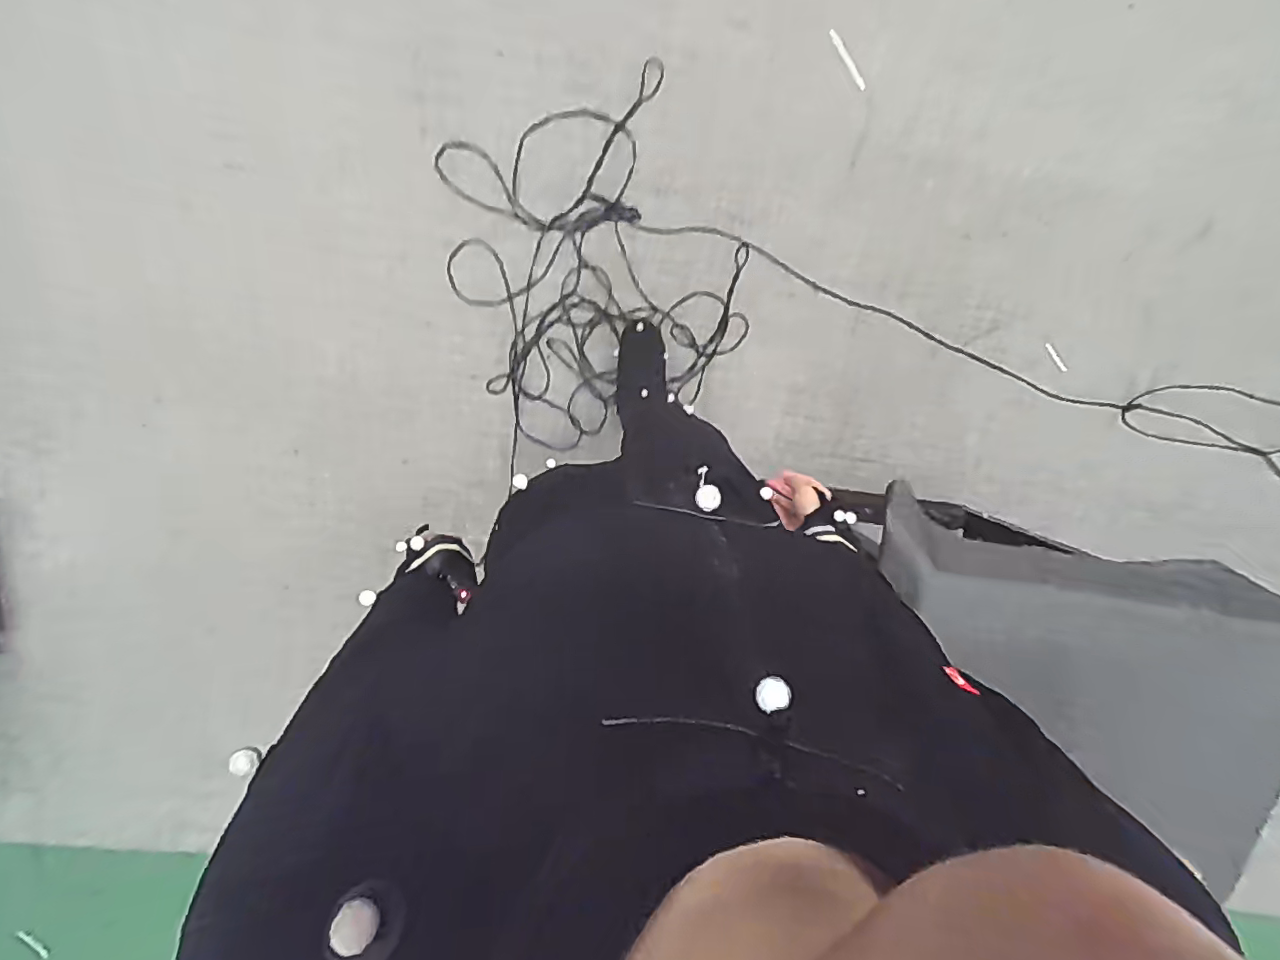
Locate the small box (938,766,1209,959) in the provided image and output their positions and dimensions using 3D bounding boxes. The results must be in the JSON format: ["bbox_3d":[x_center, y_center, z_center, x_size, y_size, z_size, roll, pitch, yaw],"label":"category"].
[{"bbox_3d":[0.519,0.487,0.675,0.179,0.176,0.168,7,101,-6],"label":"small box"}]
